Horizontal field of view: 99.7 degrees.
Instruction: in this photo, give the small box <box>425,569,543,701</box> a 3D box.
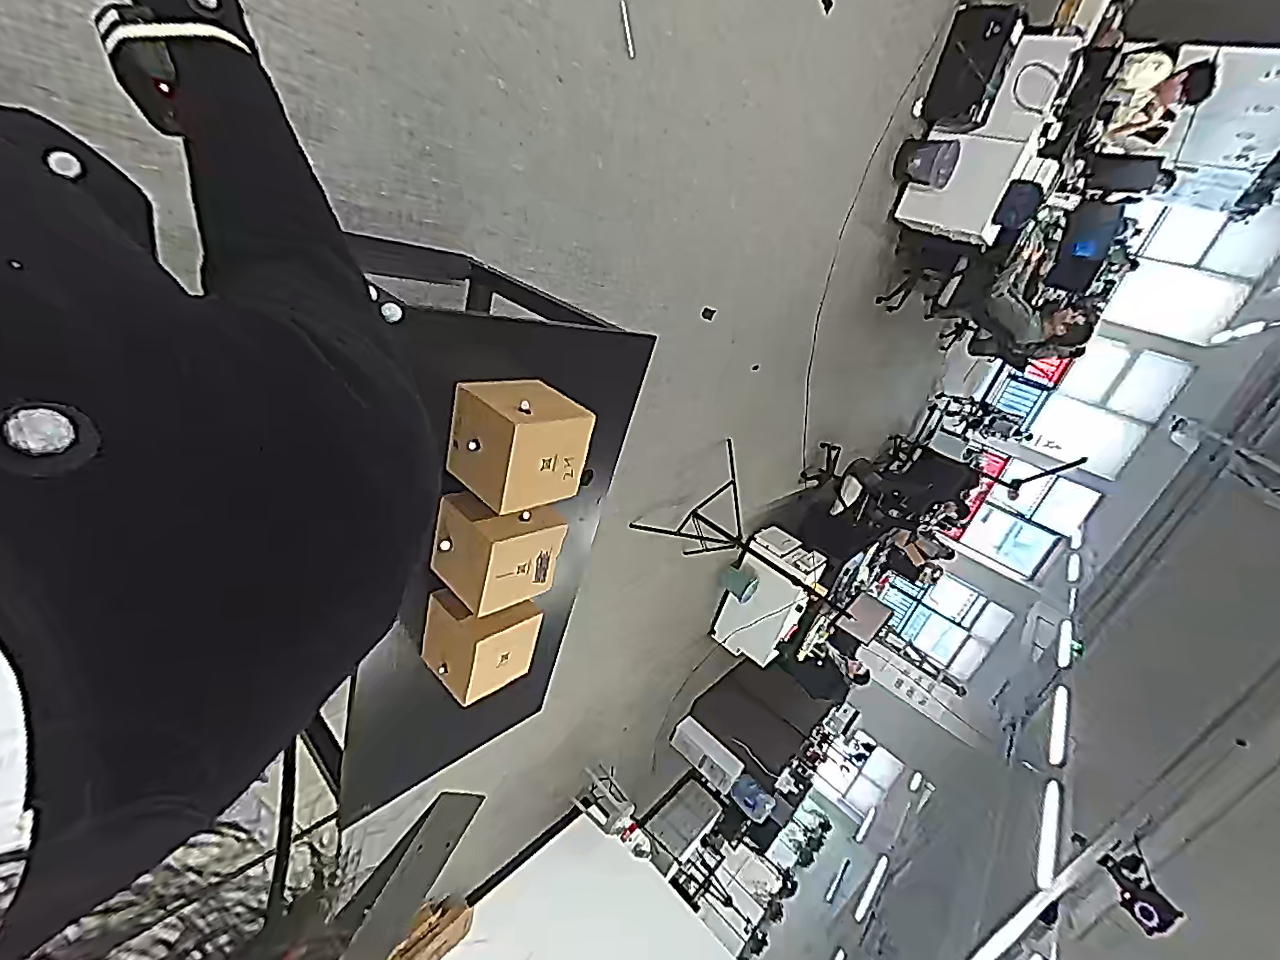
[{"bbox_3d":[-0.335,0.320,1.146,0.168,0.176,0.179,-16,129,-50],"label":"small box"}]
